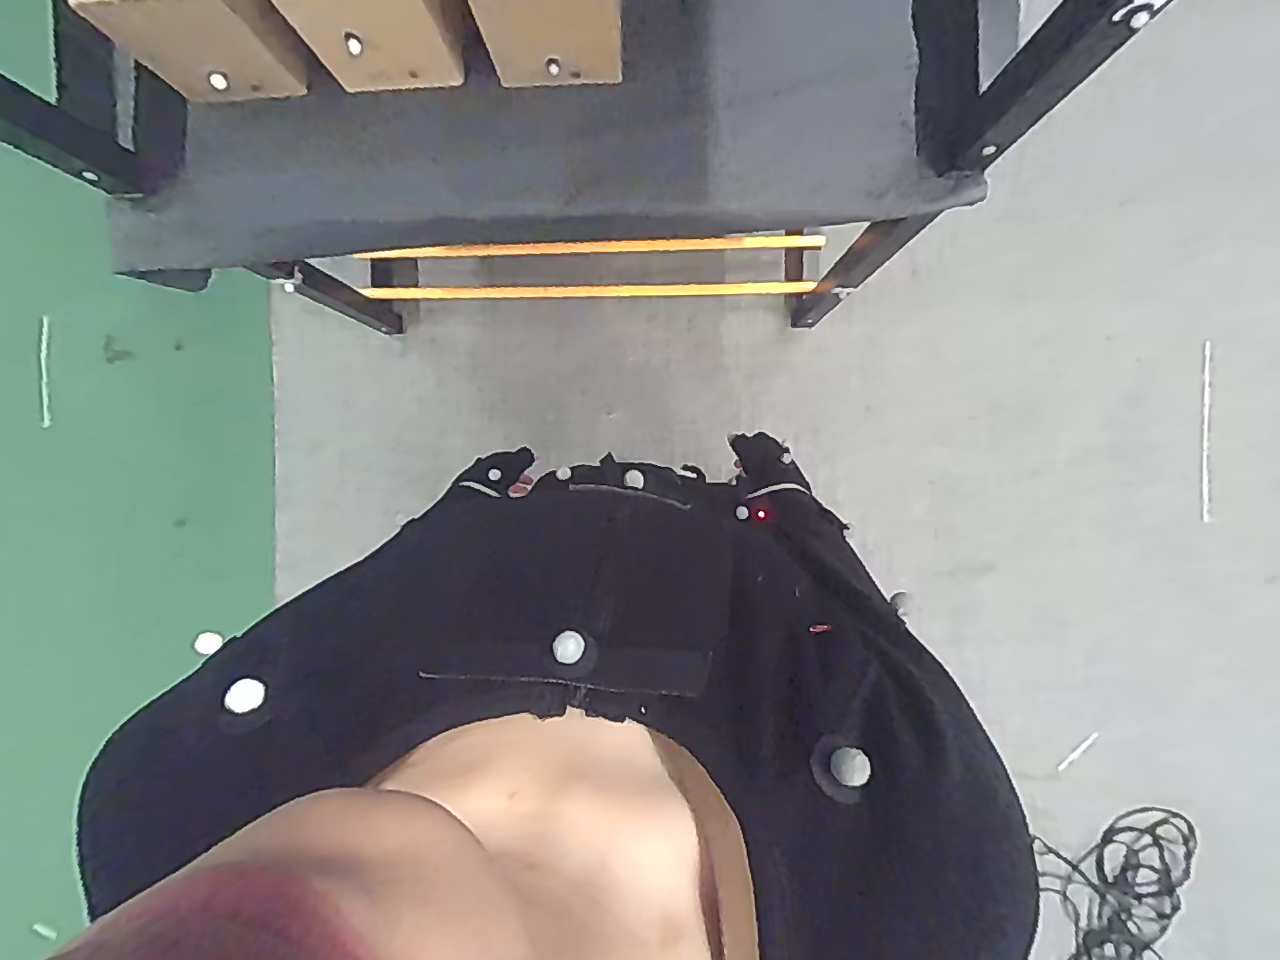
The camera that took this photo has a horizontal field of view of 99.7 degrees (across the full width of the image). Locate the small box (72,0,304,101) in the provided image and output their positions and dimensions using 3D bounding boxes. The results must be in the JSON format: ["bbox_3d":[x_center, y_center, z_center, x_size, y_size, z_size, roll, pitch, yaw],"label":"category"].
[{"bbox_3d":[-0.548,-0.613,0.666,0.168,0.176,0.179,-3,92,2],"label":"small box"}]
